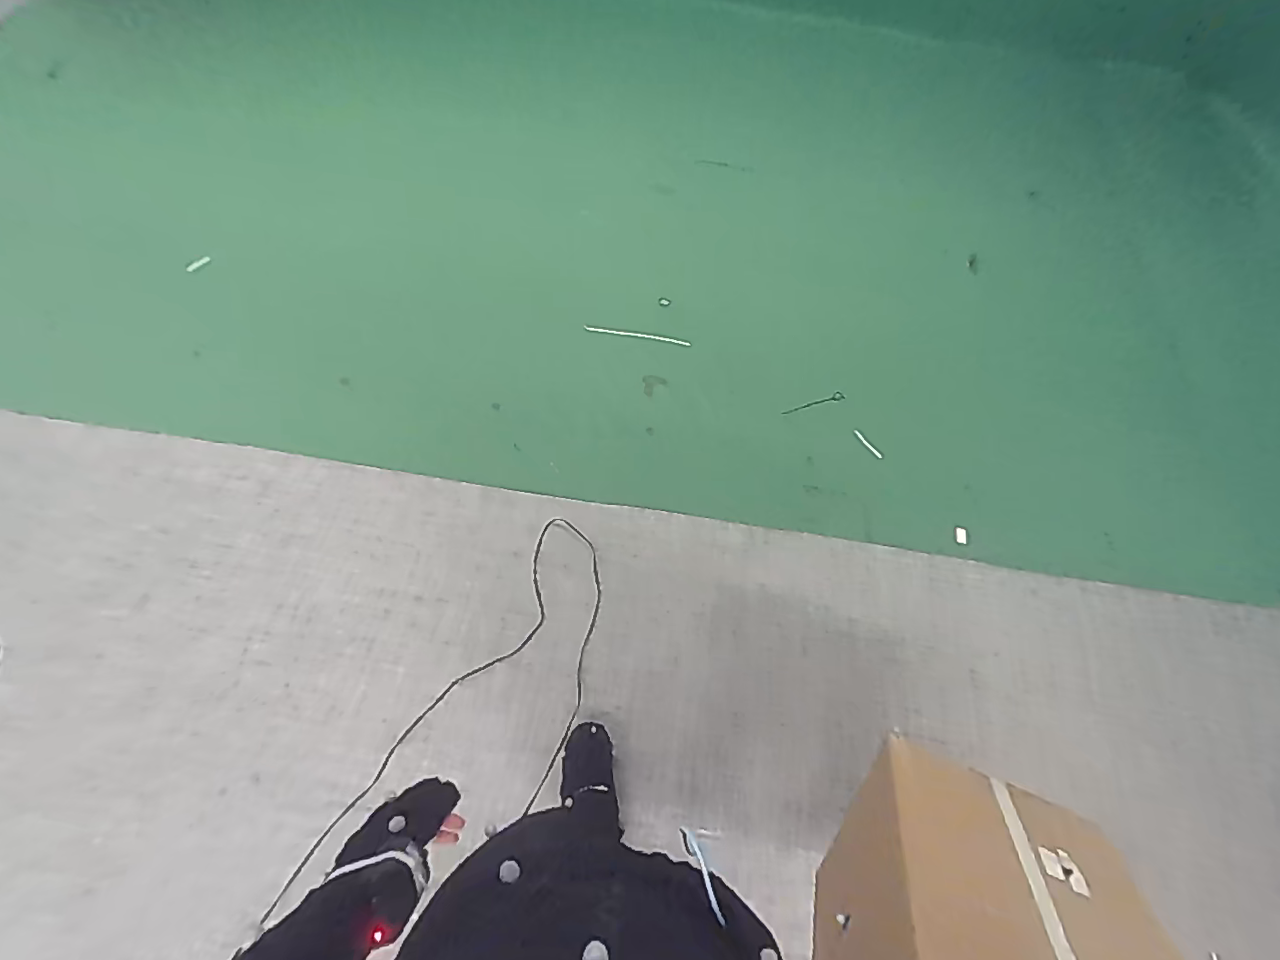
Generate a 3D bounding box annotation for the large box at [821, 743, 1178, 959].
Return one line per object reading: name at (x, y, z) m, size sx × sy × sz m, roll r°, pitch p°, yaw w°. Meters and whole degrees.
large box at (0.424, 0.635, 0.666) m, size 0.320 × 0.408 × 0.320 m, roll 21°, pitch 107°, yaw 15°
